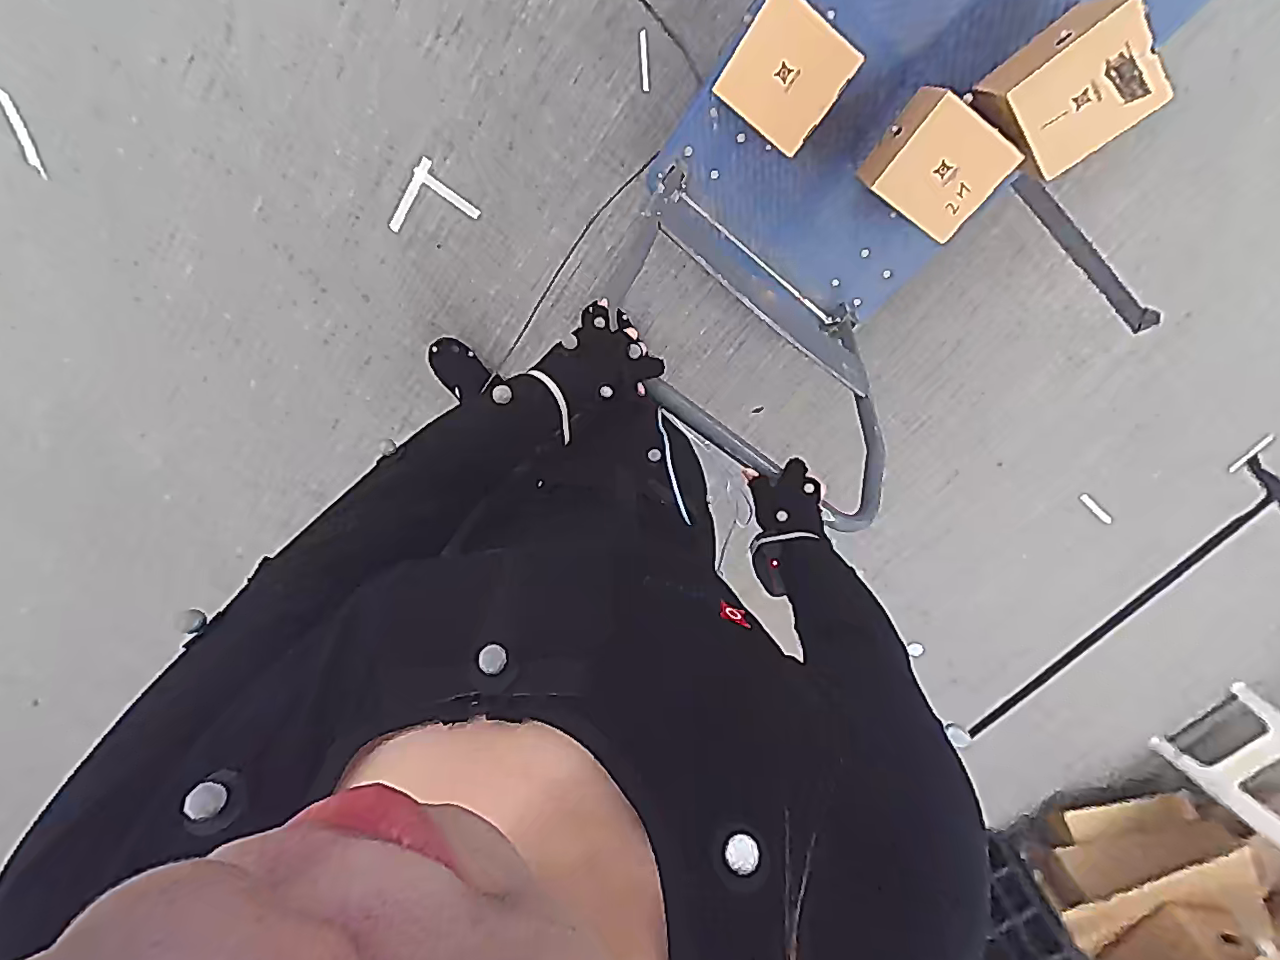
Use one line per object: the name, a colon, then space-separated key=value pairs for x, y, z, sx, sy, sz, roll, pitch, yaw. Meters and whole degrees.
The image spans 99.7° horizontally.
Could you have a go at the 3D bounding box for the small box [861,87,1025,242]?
small box: x=0.524 y=-0.565 z=0.967 sx=0.179 sy=0.176 sz=0.168 roll=30 pitch=128 yaw=-13

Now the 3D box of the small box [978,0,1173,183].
small box: x=0.695 y=-0.631 z=0.881 sx=0.179 sy=0.176 sz=0.168 roll=-31 pitch=117 yaw=31

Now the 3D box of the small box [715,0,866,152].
small box: x=0.245 y=-0.698 z=0.917 sx=0.179 sy=0.176 sz=0.168 roll=31 pitch=127 yaw=-16
